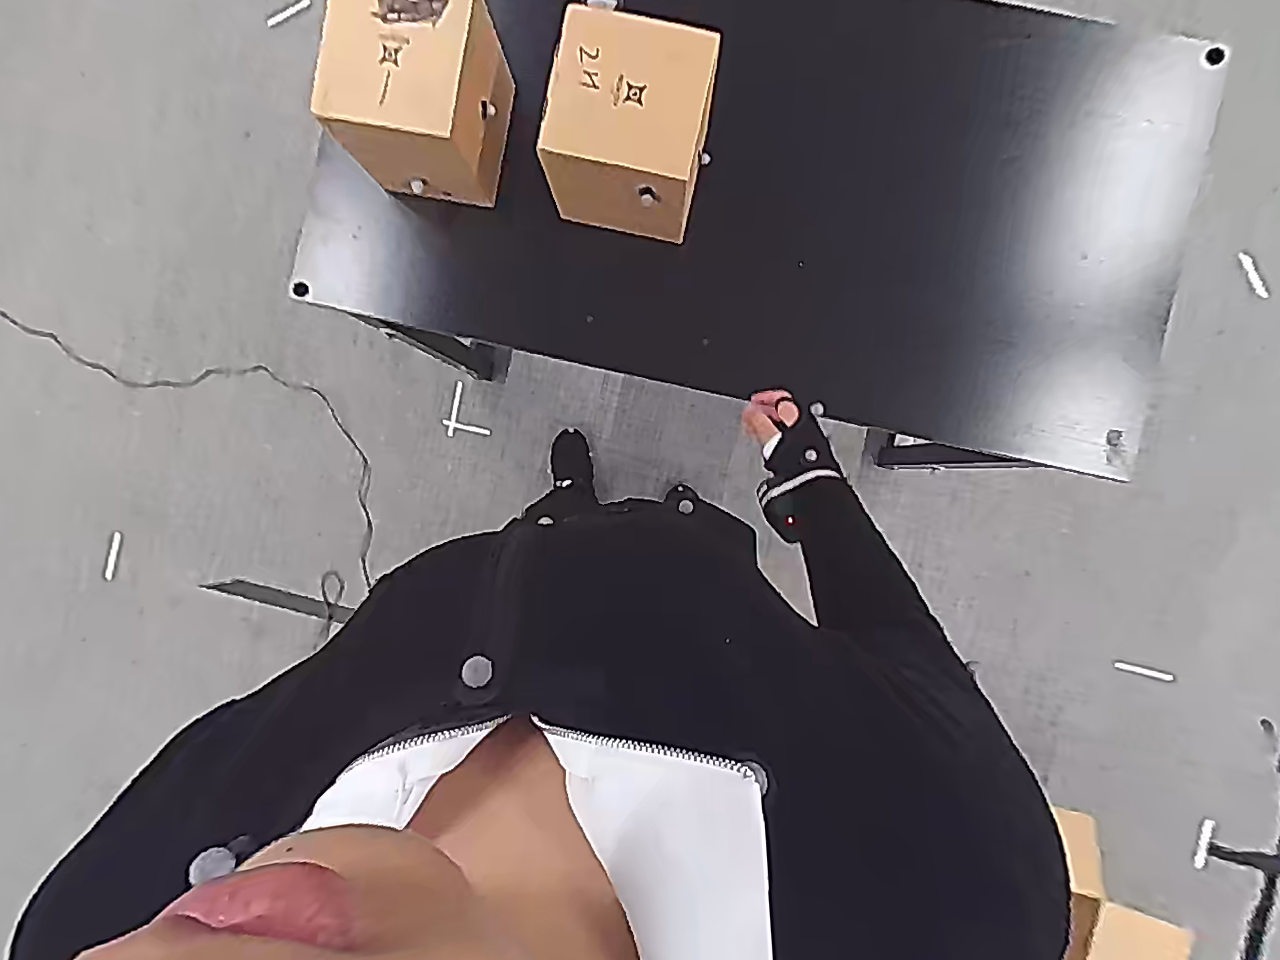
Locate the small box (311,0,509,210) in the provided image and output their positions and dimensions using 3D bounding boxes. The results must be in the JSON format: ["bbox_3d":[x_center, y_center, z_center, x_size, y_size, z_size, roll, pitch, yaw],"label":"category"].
[{"bbox_3d":[-0.277,-0.481,0.690,0.168,0.176,0.179,11,92,1],"label":"small box"}]

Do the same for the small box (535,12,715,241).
[{"bbox_3d":[-0.016,-0.425,0.683,0.179,0.176,0.168,12,91,1],"label":"small box"}]
